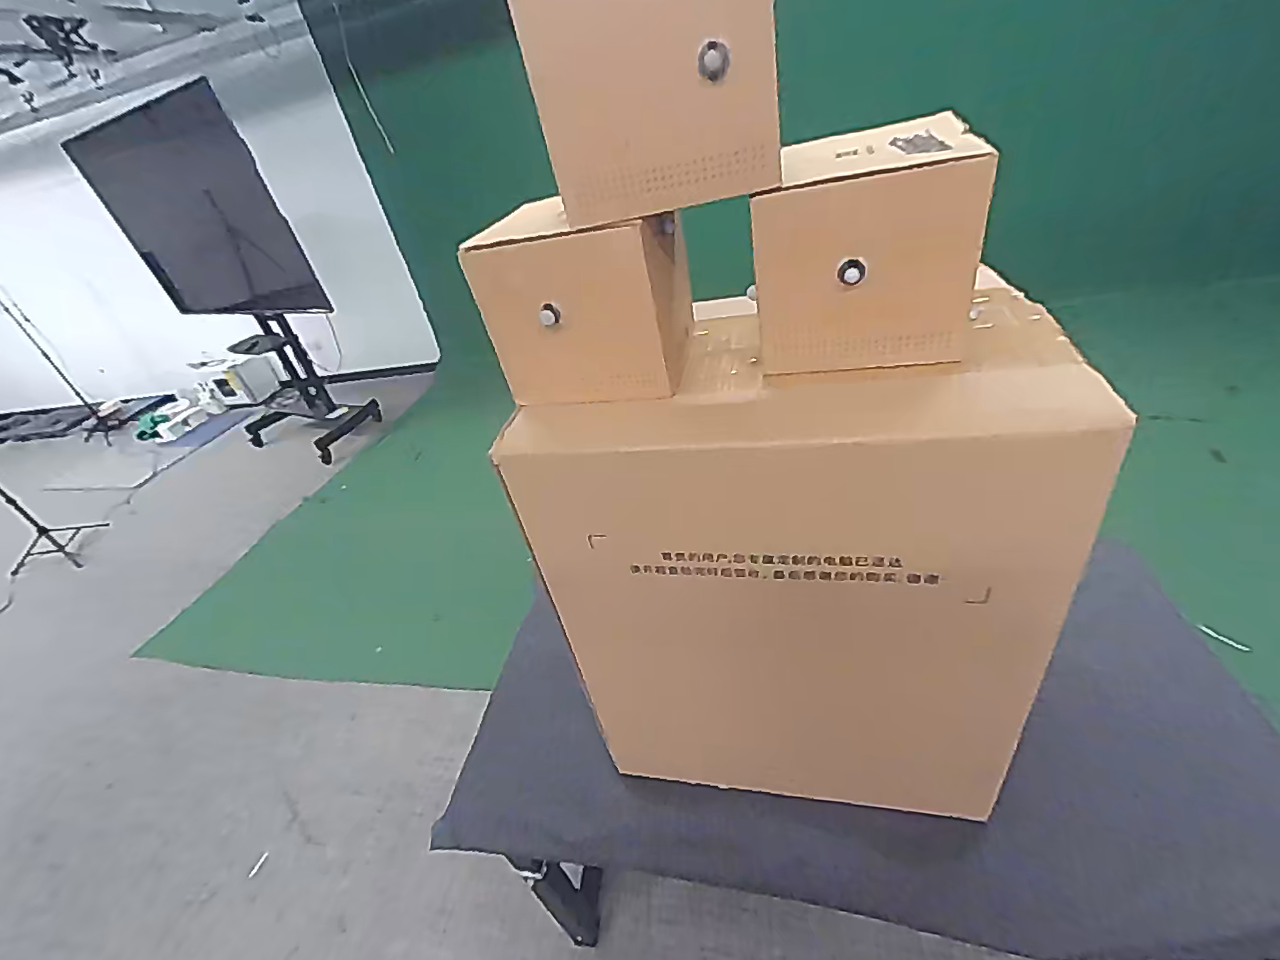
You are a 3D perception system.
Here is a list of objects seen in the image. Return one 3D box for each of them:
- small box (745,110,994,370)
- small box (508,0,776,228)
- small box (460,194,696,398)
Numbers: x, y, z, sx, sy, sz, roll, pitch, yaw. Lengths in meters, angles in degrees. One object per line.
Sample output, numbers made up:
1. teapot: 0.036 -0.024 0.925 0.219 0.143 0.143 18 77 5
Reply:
1. small box: 0.202 -0.220 0.511 0.179 0.176 0.168 -1 41 19
2. small box: 0.014 -0.329 0.447 0.179 0.176 0.168 -8 37 10
3. small box: -0.049 -0.197 0.570 0.179 0.176 0.168 0 41 18
